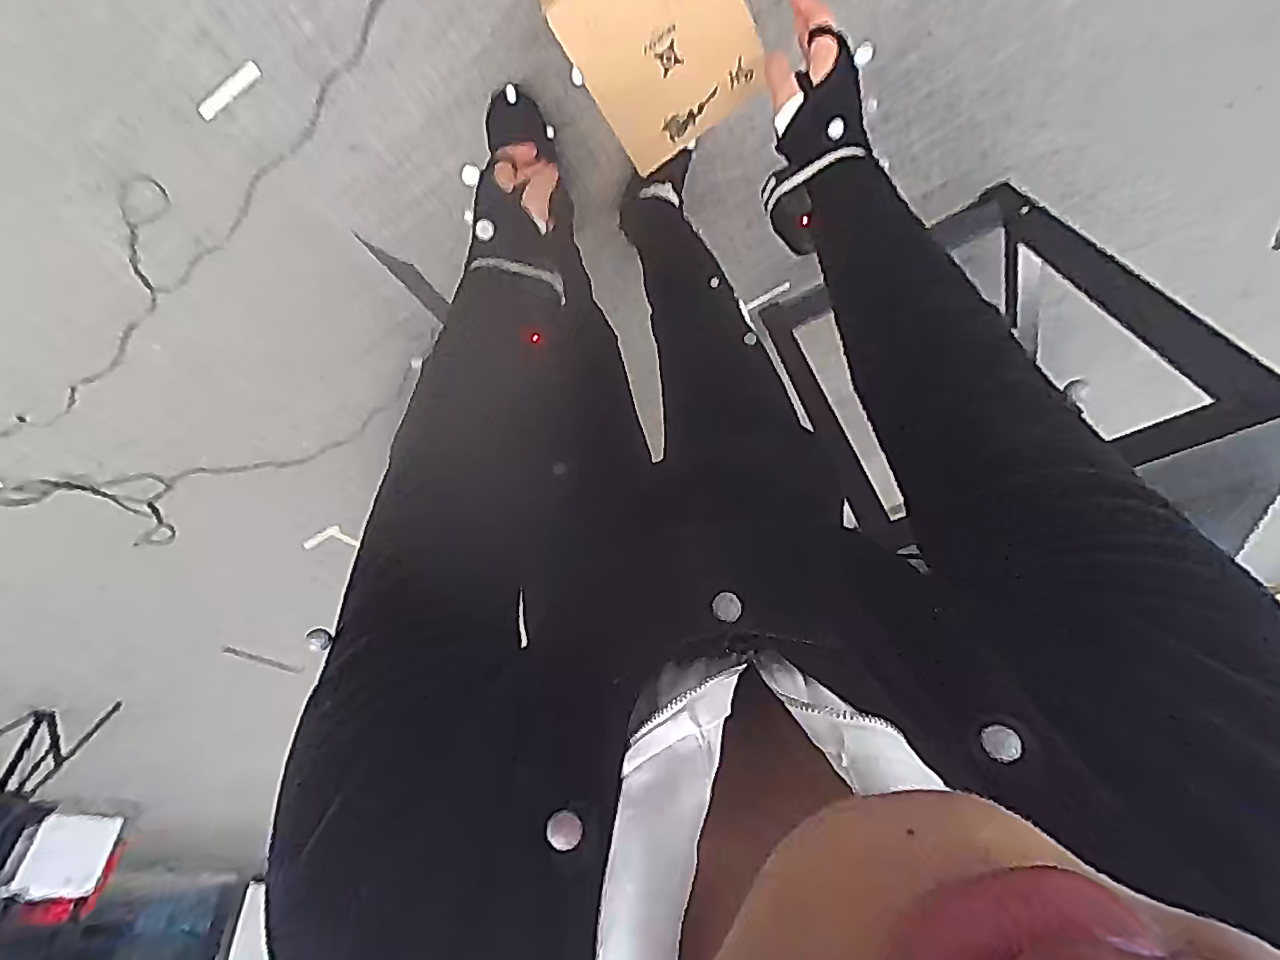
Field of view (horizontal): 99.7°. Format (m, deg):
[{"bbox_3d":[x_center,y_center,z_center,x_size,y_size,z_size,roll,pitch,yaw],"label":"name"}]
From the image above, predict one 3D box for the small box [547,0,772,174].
[{"bbox_3d":[0.014,-0.482,0.581,0.168,0.176,0.179,-28,136,20],"label":"small box"}]
